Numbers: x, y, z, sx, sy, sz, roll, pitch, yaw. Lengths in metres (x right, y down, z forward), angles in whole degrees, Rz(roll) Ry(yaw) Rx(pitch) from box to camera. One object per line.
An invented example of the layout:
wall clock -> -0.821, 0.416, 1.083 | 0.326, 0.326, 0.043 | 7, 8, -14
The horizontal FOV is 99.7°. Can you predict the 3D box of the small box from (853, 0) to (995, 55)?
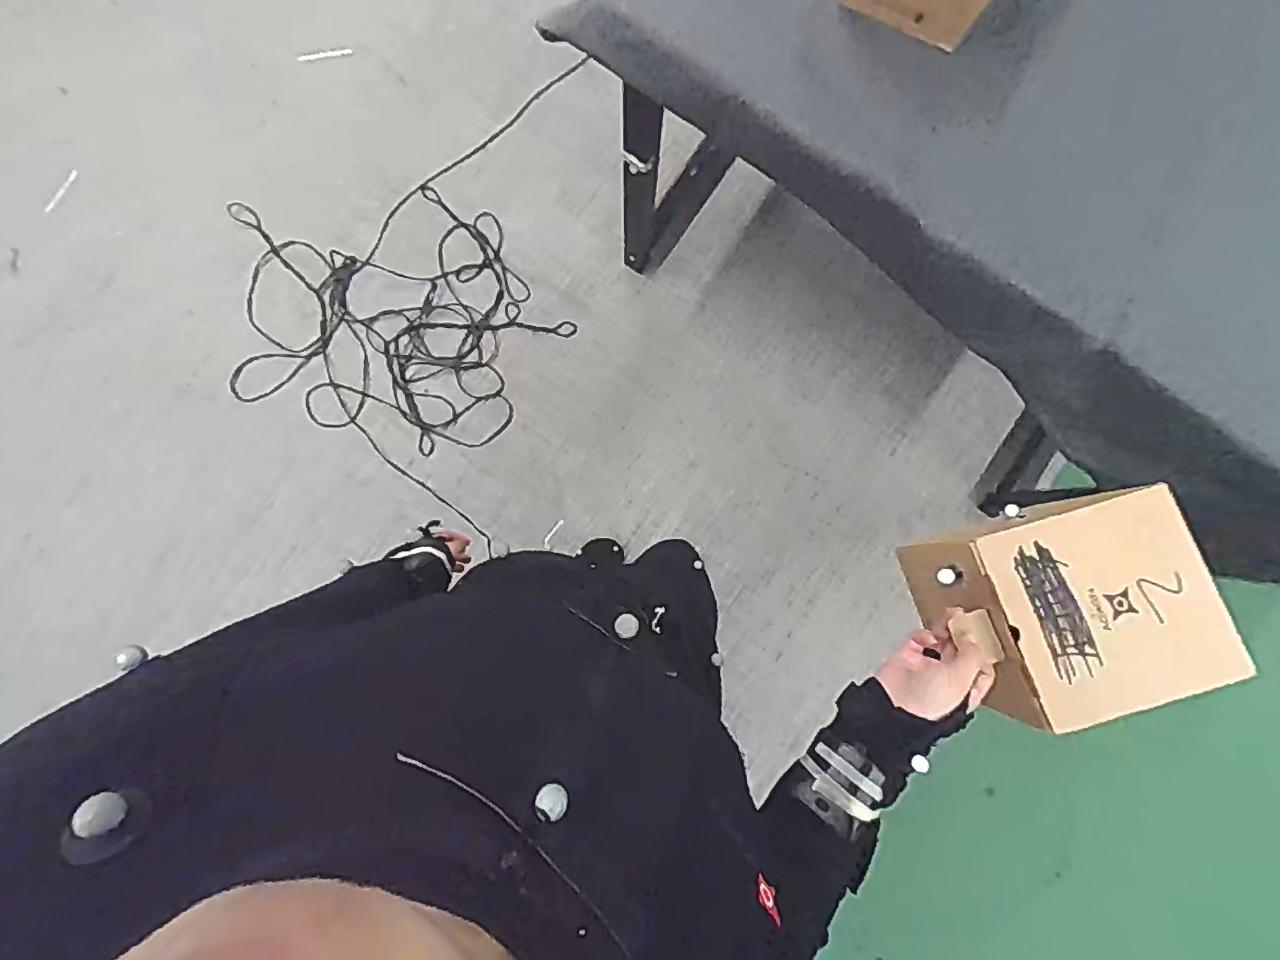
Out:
small box -> 0.369, -0.656, 0.627 | 0.168, 0.176, 0.179 | 24, 85, -1
